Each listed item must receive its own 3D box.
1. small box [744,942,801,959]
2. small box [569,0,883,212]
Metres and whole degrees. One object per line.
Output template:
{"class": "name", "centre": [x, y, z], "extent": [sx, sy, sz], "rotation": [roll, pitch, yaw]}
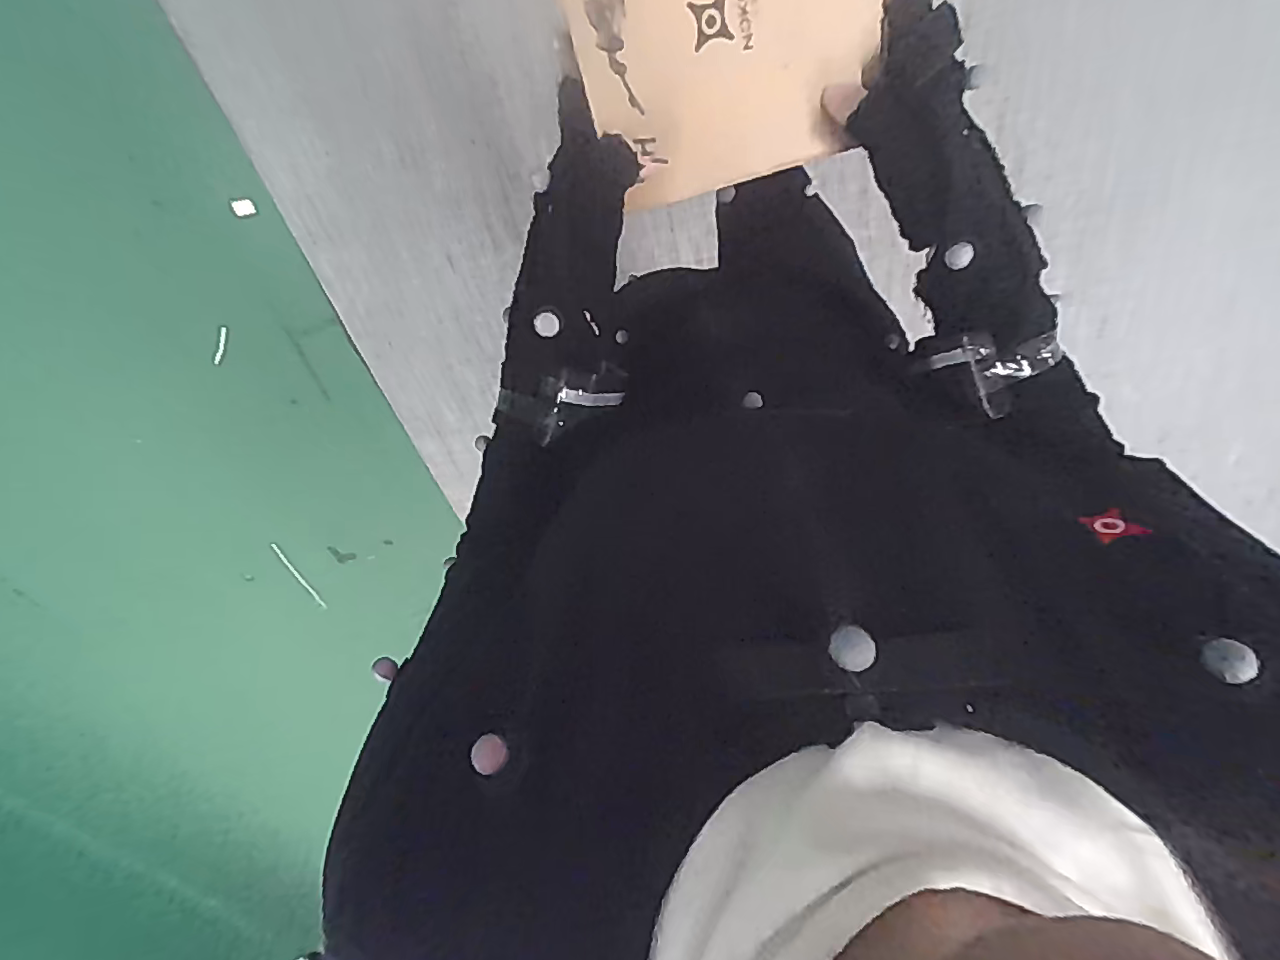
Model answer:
{"class": "small box", "centre": [0.431, 1.595, 1.713], "extent": [0.179, 0.176, 0.168], "rotation": [-13, 125, 11]}
{"class": "small box", "centre": [0.049, -0.303, 0.381], "extent": [0.179, 0.176, 0.168], "rotation": [-13, 118, 6]}
